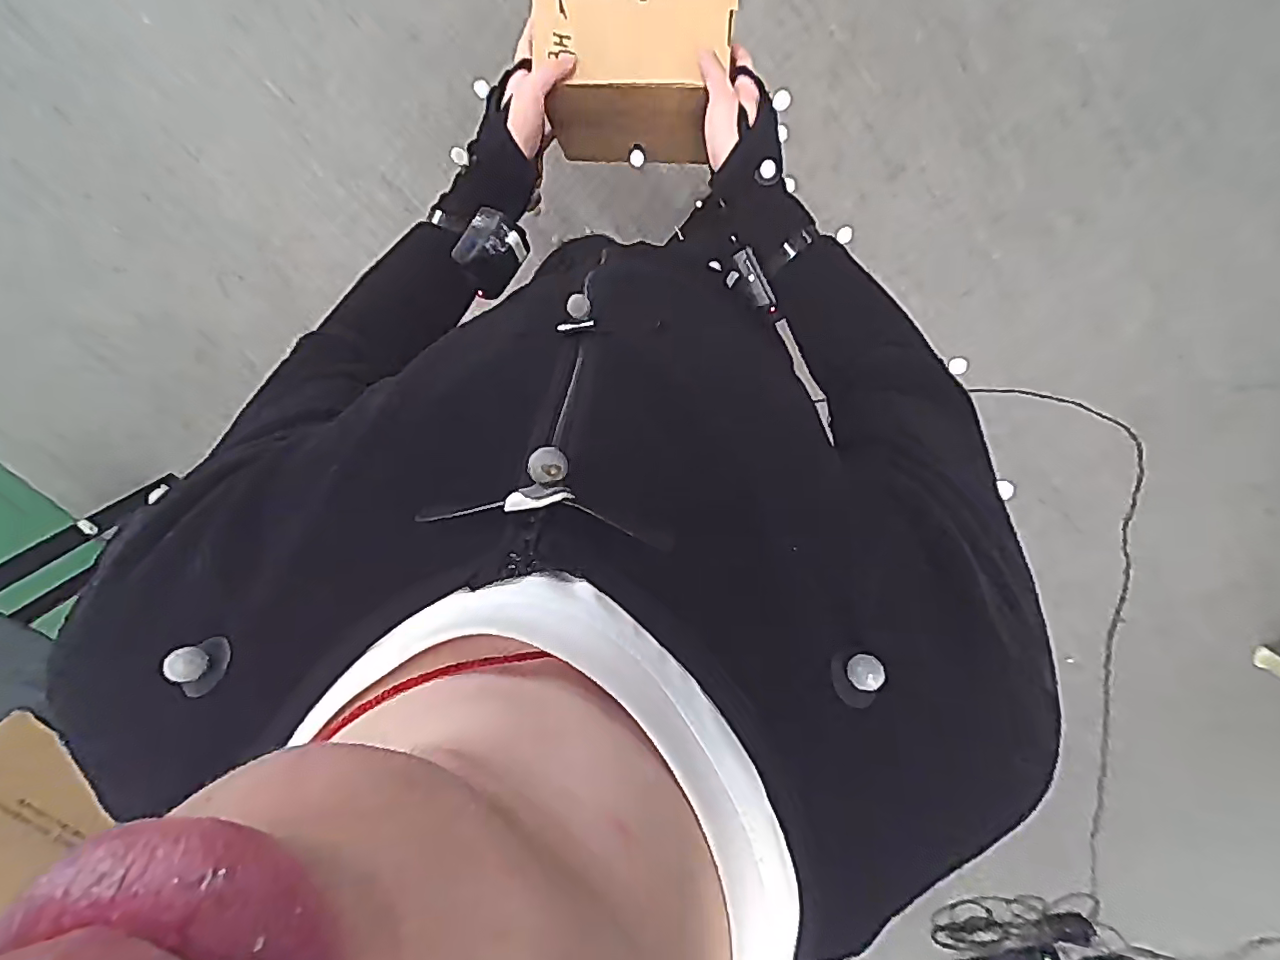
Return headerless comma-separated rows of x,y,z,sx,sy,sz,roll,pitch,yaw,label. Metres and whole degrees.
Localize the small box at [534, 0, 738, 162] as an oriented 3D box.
-0.002,-0.441,0.539,0.179,0.176,0.168,2,98,1,small box
